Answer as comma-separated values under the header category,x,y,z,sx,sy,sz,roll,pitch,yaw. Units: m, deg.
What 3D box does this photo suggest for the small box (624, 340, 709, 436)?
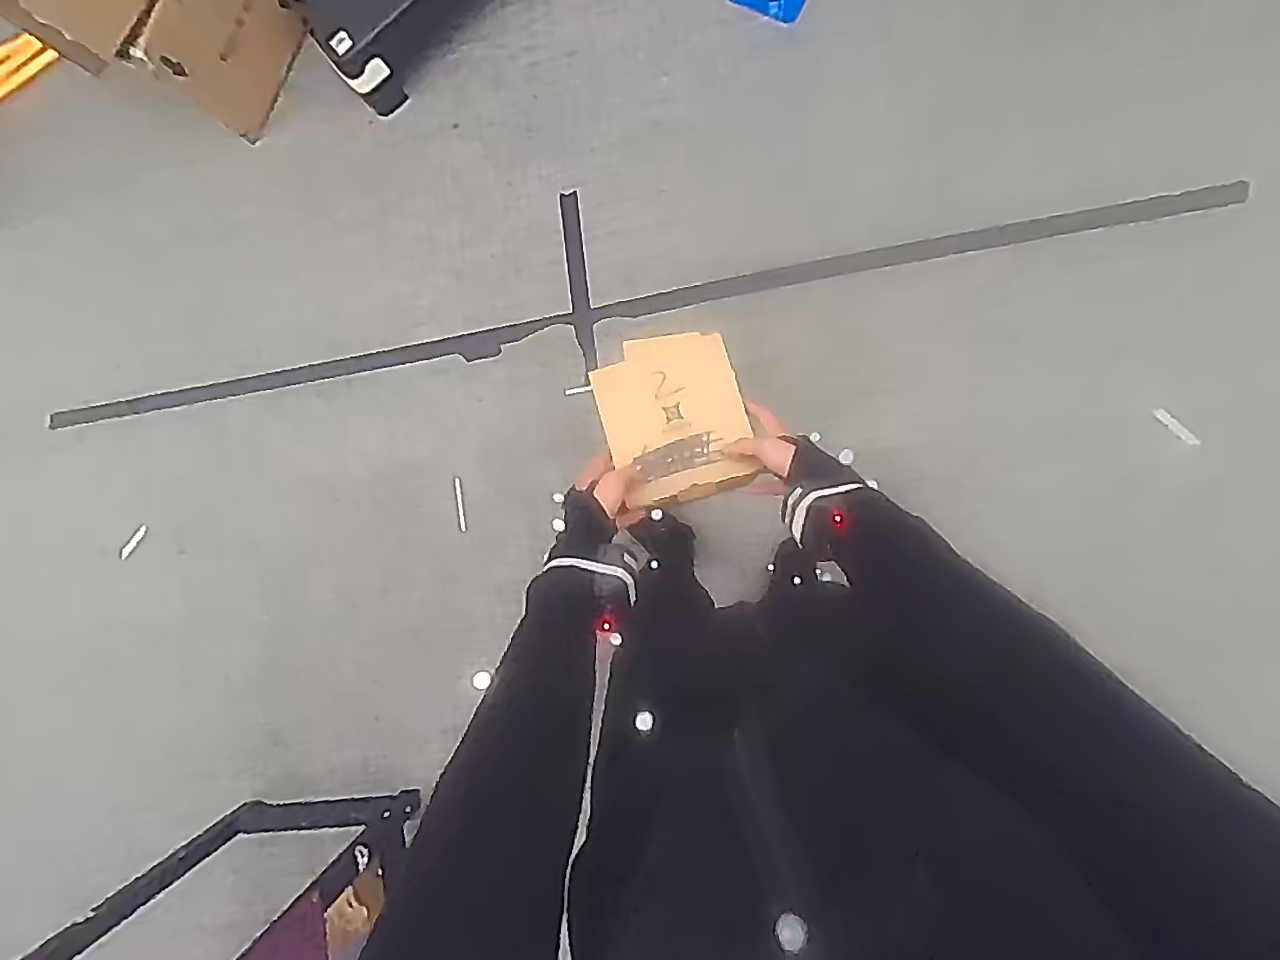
category,x,y,z,sx,sy,sz,roll,pitch,yaw
small box,0.063,-0.196,1.201,0.168,0.176,0.179,-6,91,7

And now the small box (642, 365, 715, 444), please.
category,x,y,z,sx,sy,sz,roll,pitch,yaw
small box,0.090,-0.188,1.362,0.179,0.176,0.168,-10,90,8
